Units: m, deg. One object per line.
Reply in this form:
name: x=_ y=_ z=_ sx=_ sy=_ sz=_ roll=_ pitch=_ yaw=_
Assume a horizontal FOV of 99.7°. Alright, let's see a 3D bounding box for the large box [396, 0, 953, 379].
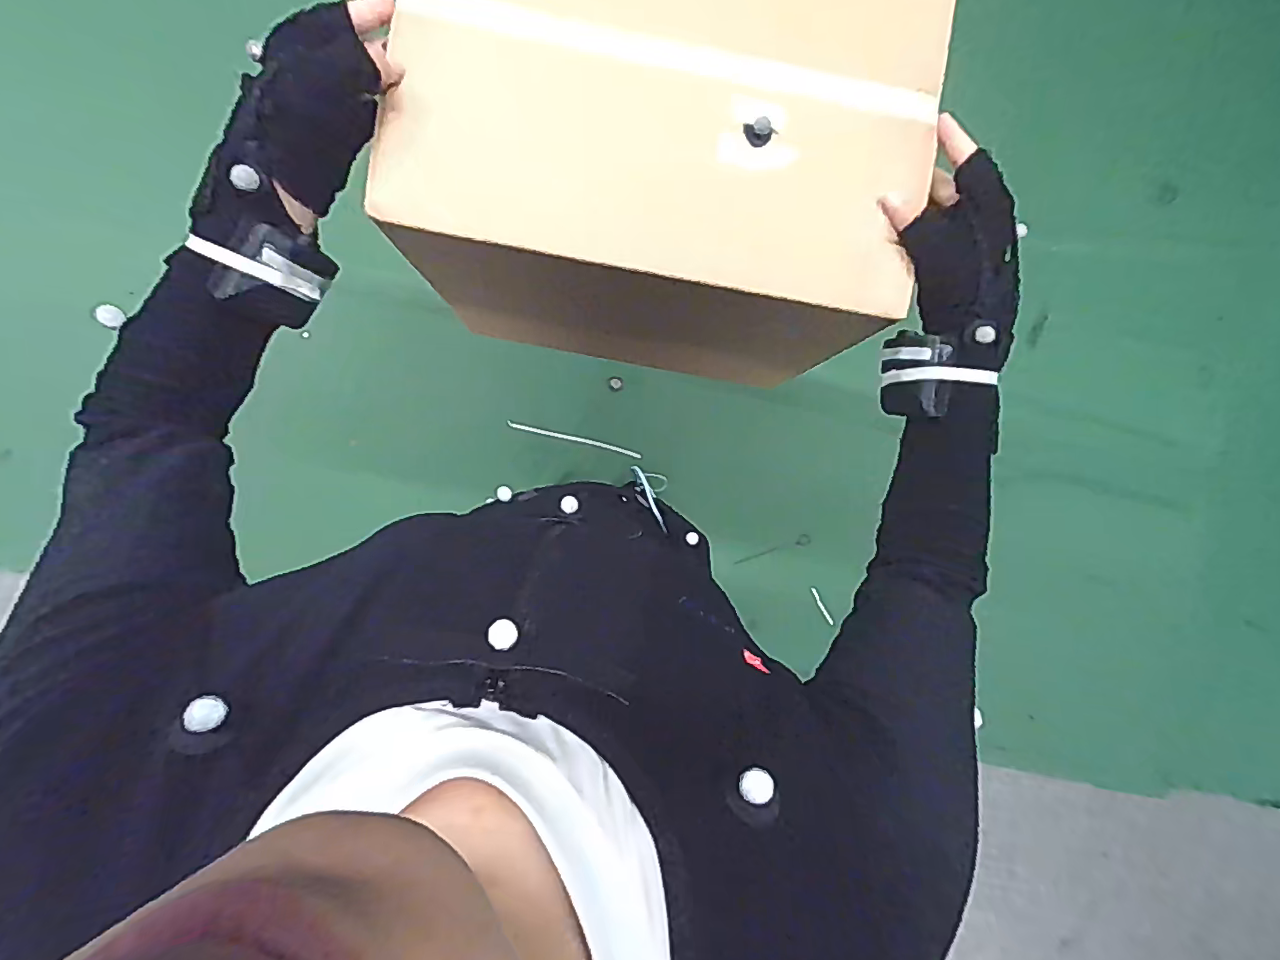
large box: x=0.024 y=-0.312 z=0.557 sx=0.408 sy=0.320 sz=0.320 roll=9 pitch=90 yaw=-5
